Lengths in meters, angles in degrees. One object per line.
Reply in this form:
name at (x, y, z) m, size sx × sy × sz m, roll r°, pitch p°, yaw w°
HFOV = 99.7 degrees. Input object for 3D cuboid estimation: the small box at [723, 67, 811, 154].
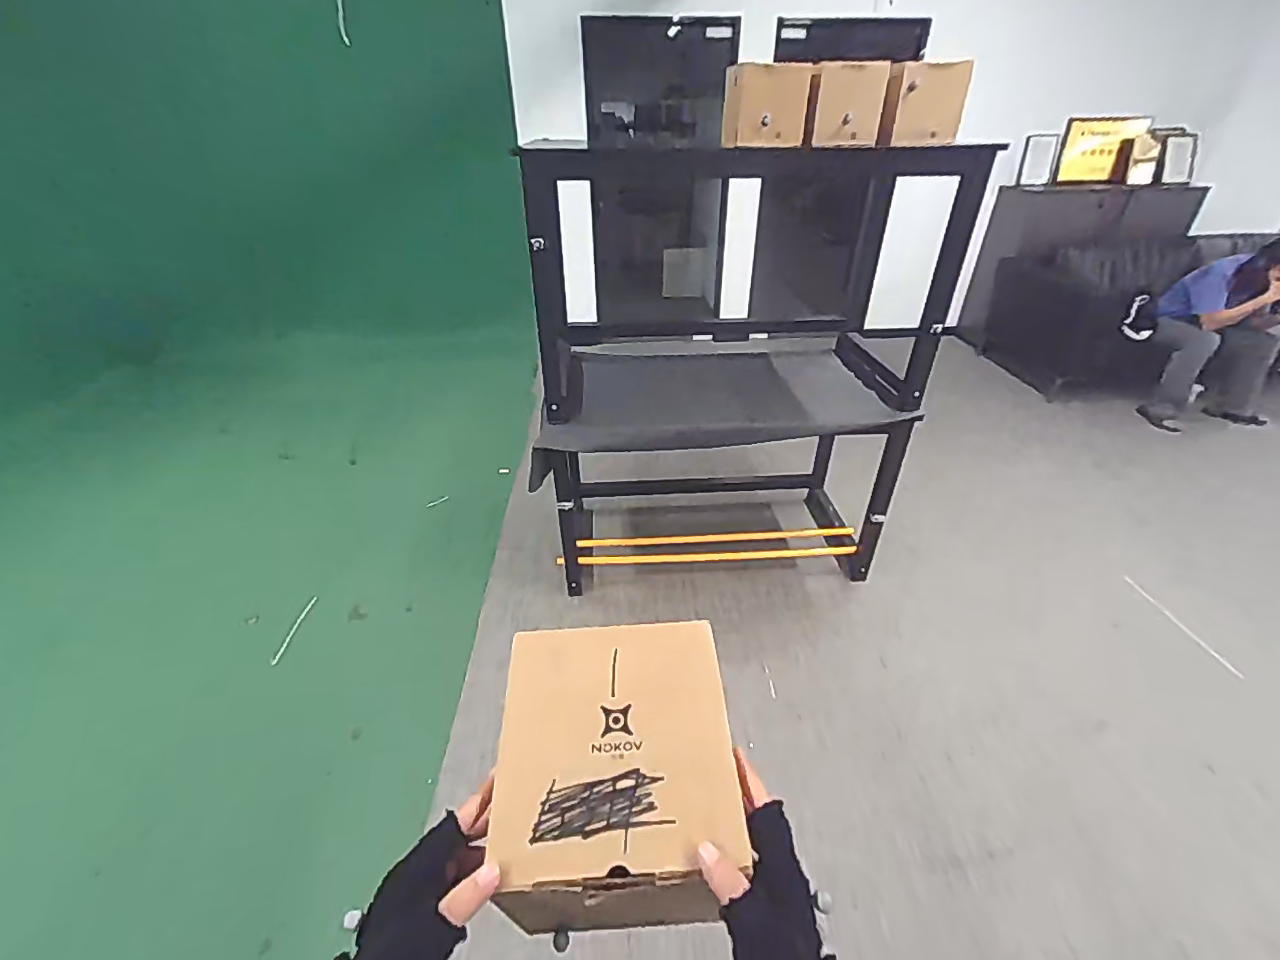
small box at (0.308, -0.923, 1.357) m, size 0.168 × 0.176 × 0.179 m, roll -2°, pitch 34°, yaw -4°
